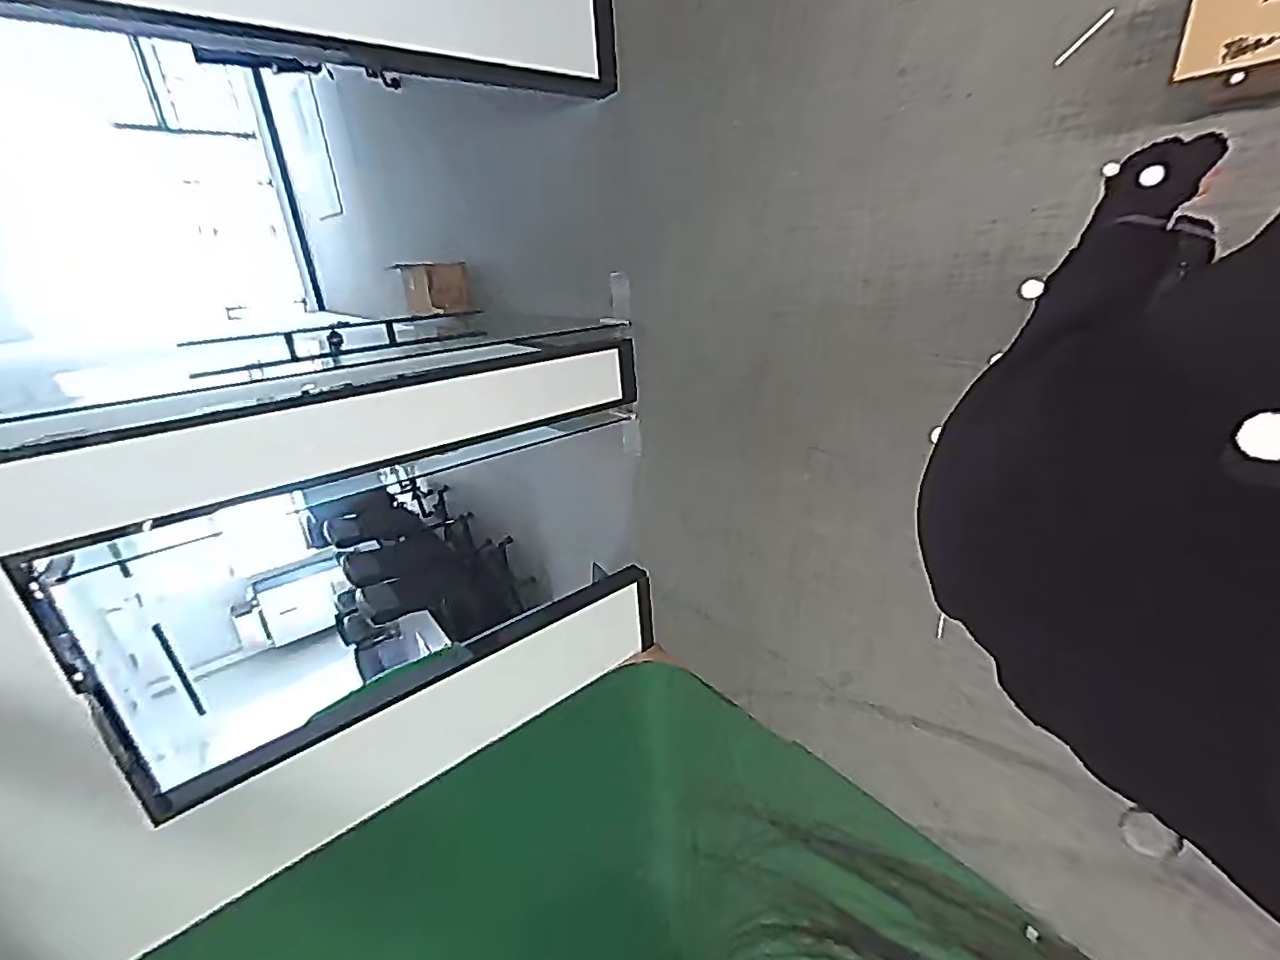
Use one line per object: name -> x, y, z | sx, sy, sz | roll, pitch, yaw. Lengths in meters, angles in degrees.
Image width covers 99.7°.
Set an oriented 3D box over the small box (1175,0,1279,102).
small box -> 0.871, -0.640, 0.725 | 0.168, 0.176, 0.179 | 23, 123, 47
